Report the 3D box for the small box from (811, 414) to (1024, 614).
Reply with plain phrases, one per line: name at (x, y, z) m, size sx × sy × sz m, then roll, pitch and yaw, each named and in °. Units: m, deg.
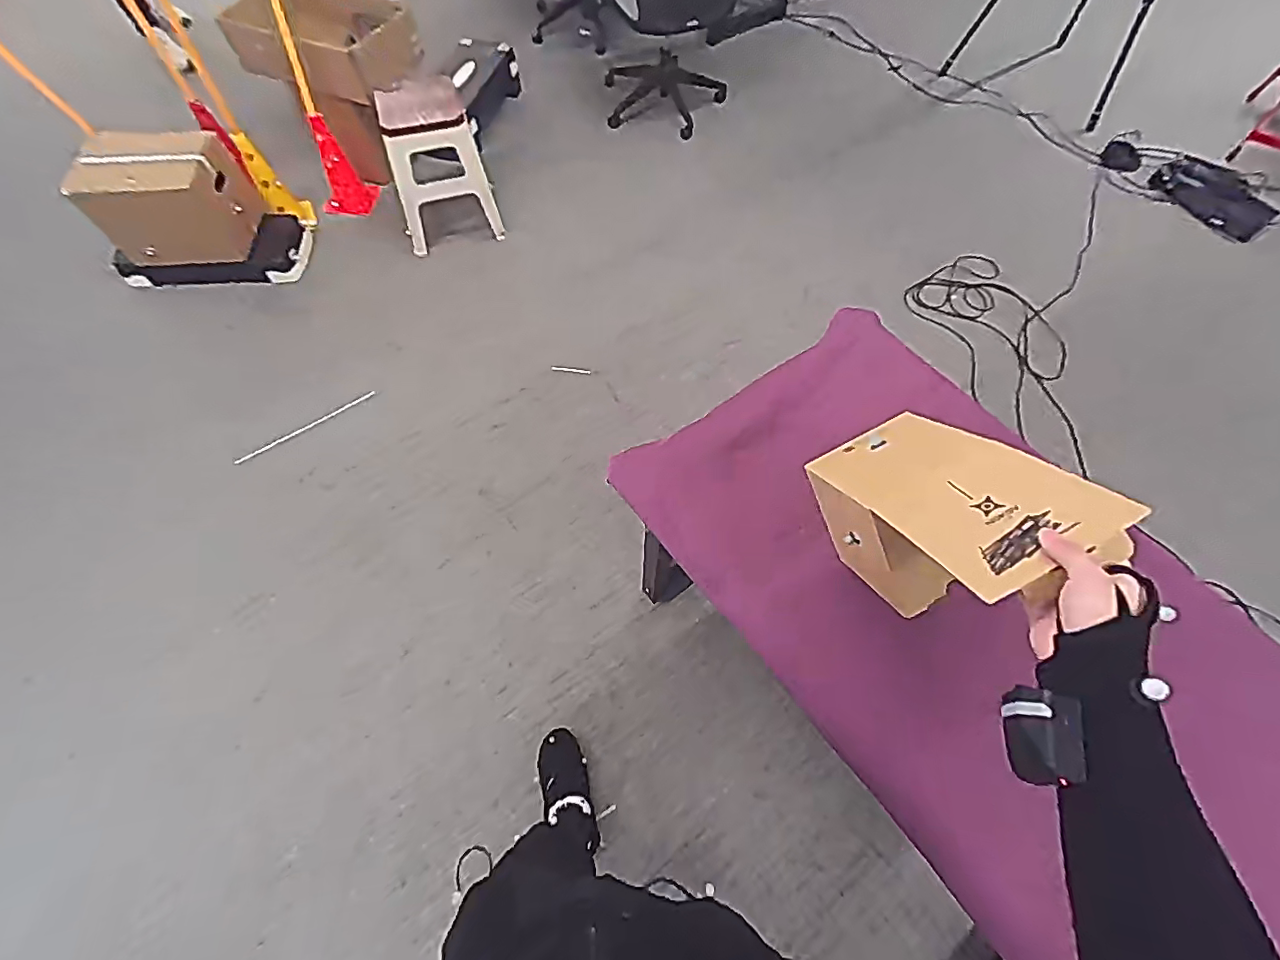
small box at (0.356, 0.035, 0.716) m, size 0.168 × 0.179 × 0.176 m, roll -28°, pitch 21°, yaw 0°
